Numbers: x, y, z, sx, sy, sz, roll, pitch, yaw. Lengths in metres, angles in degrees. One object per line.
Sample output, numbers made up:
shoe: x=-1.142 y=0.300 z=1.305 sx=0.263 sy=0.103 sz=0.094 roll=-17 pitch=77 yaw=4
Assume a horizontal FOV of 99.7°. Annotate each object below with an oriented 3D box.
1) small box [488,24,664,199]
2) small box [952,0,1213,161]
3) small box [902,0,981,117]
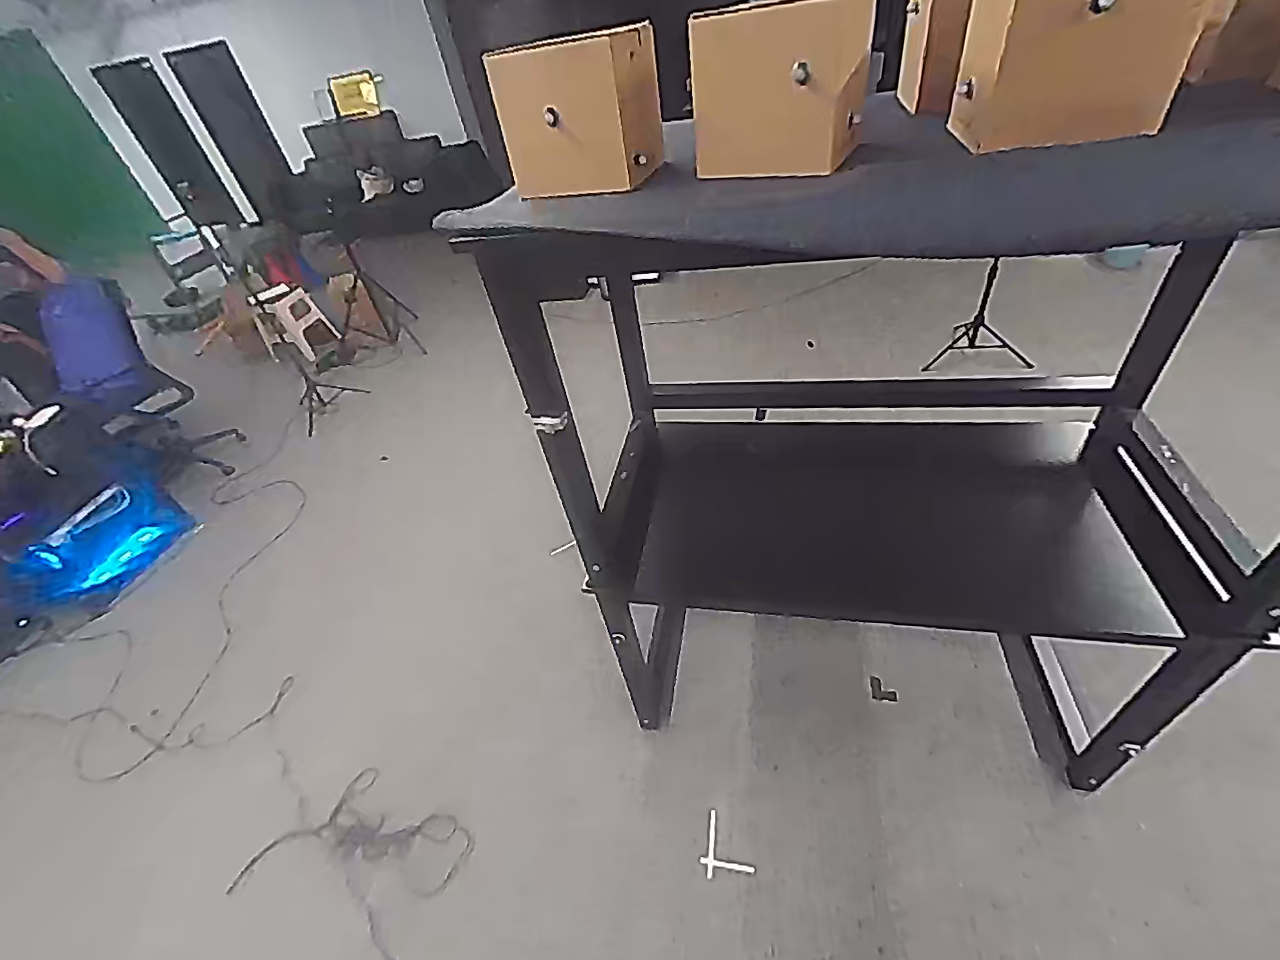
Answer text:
small box: x=-0.073 y=-0.507 z=0.754 sx=0.179 sy=0.176 sz=0.168 roll=6 pitch=43 yaw=19
small box: x=0.479 y=-0.479 z=0.606 sx=0.179 sy=0.176 sz=0.168 roll=1 pitch=43 yaw=15
small box: x=0.493 y=-0.650 z=0.791 sx=0.168 sy=0.176 sz=0.179 roll=1 pitch=43 yaw=15
